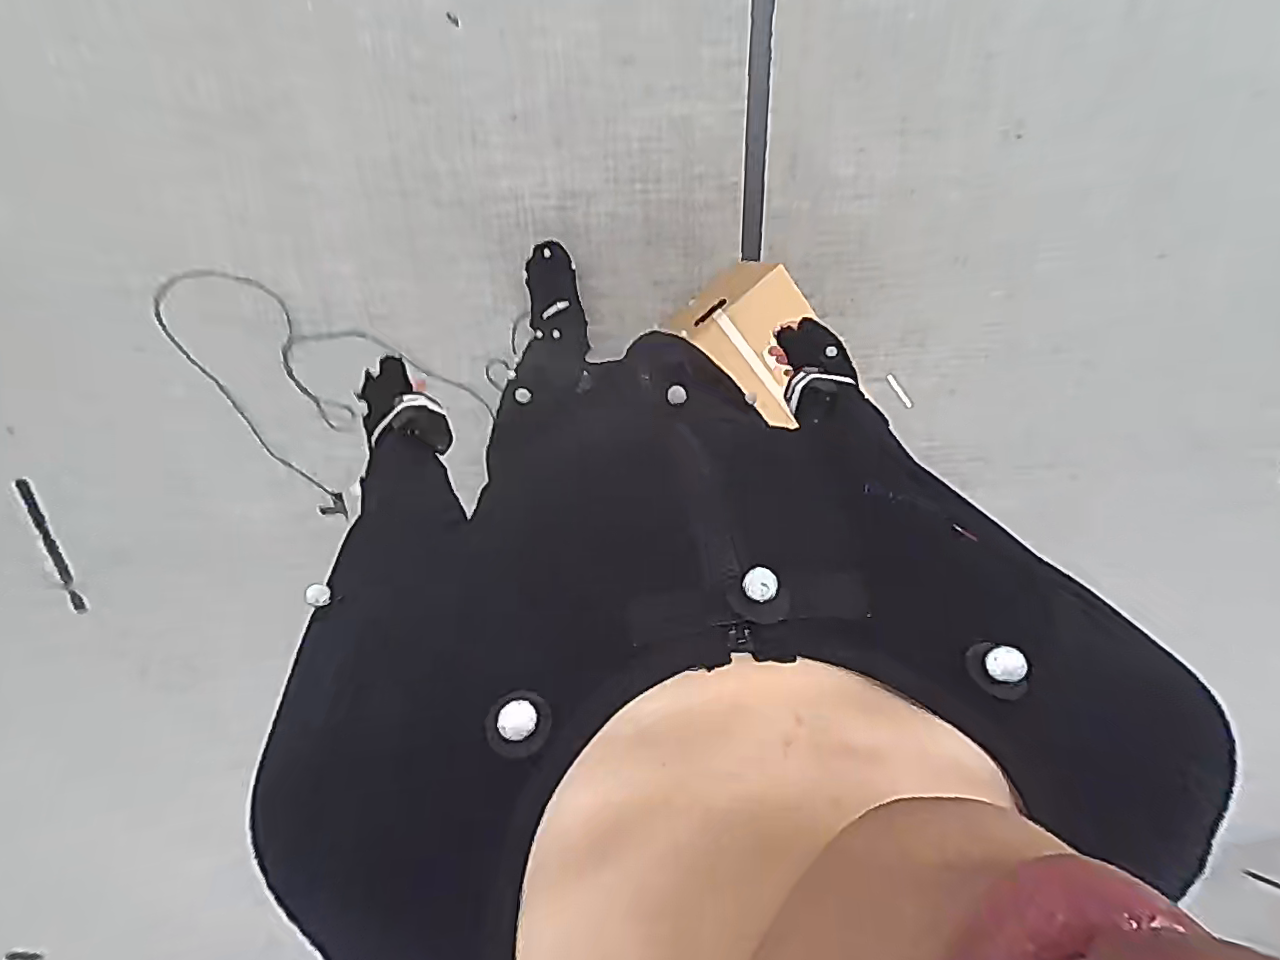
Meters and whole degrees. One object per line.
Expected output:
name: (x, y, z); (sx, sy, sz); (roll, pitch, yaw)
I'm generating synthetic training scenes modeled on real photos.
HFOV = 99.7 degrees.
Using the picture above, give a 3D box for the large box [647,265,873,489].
large box: (0.269, -0.256, 1.308); (0.320, 0.320, 0.408); (-40, 110, 9)
